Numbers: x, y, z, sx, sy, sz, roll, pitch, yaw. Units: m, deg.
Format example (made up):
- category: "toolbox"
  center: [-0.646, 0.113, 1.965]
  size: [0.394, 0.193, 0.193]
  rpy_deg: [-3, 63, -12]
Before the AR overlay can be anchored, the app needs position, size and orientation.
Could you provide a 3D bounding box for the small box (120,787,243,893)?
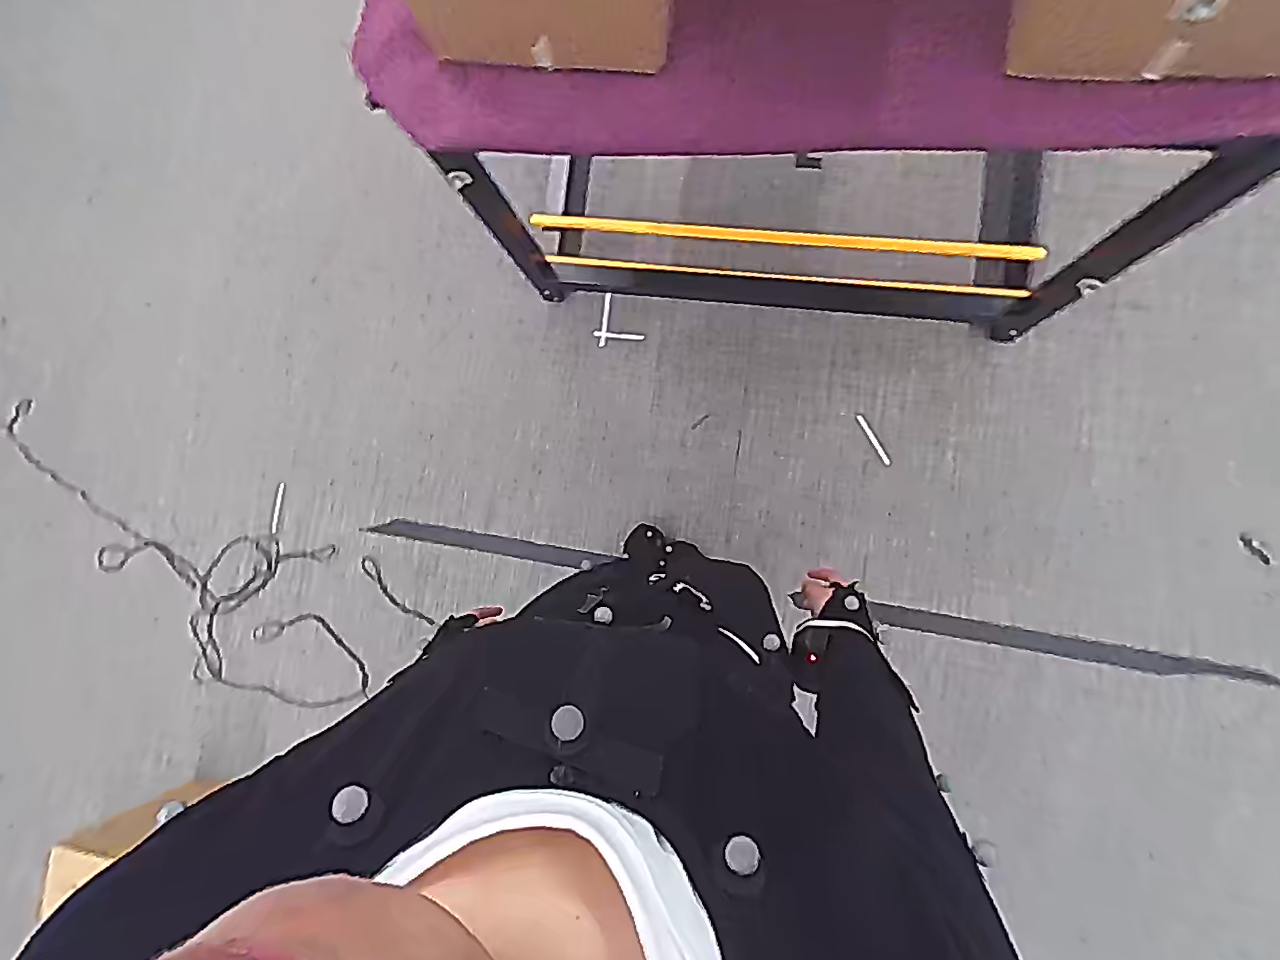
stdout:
- category: "small box"
  center: [-1.192, 0.930, 1.413]
  size: [0.179, 0.176, 0.168]
  rpy_deg: [1, 86, 7]
